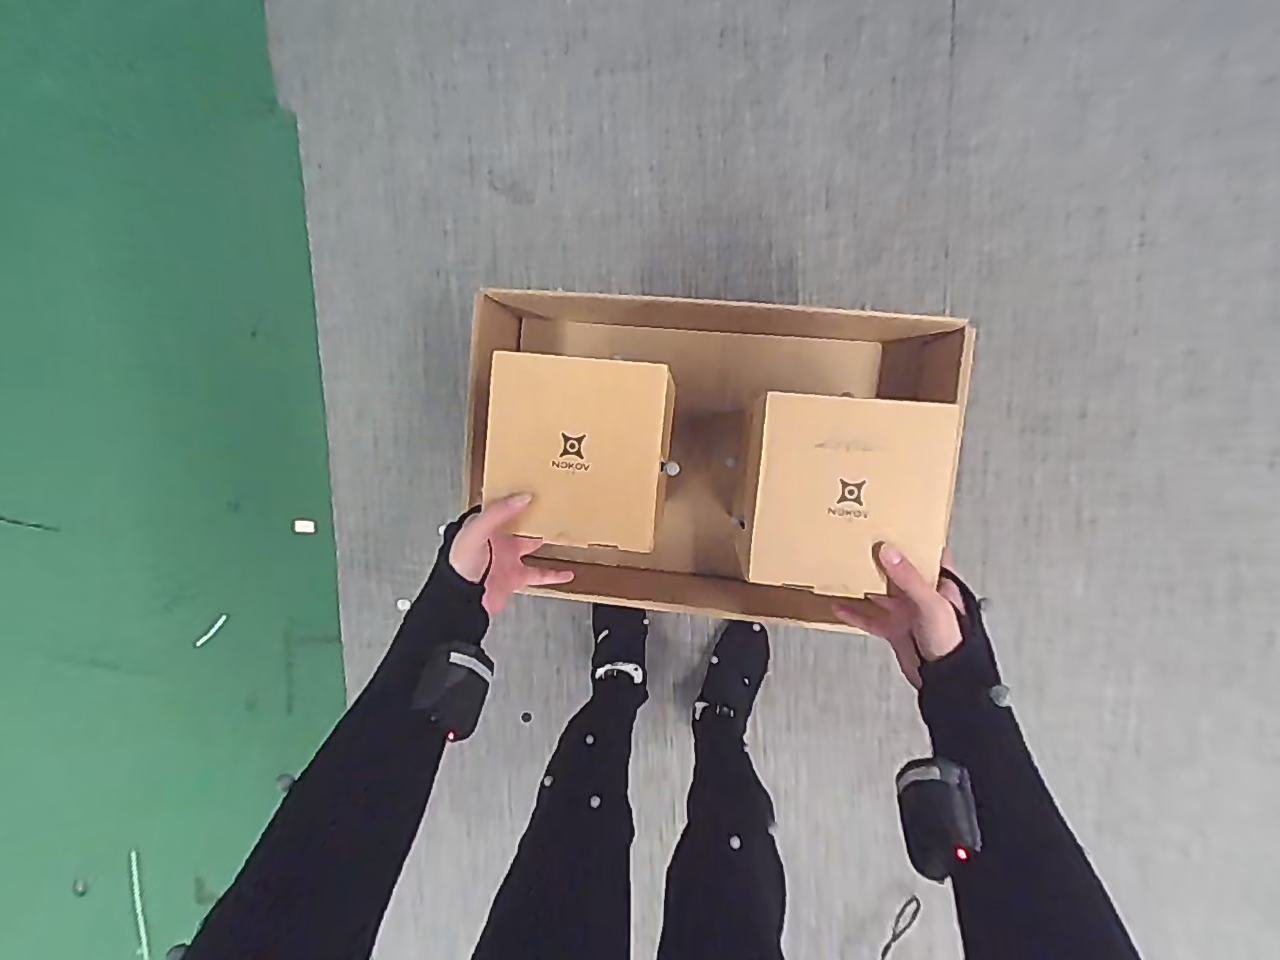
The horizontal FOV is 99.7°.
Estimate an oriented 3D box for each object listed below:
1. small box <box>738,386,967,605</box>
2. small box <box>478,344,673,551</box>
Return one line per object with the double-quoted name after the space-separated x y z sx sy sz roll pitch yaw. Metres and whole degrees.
0.193 0.008 0.544 0.168 0.176 0.179 6 94 6 "small box"
-0.055 -0.035 0.572 0.168 0.176 0.179 6 94 5 "small box"
